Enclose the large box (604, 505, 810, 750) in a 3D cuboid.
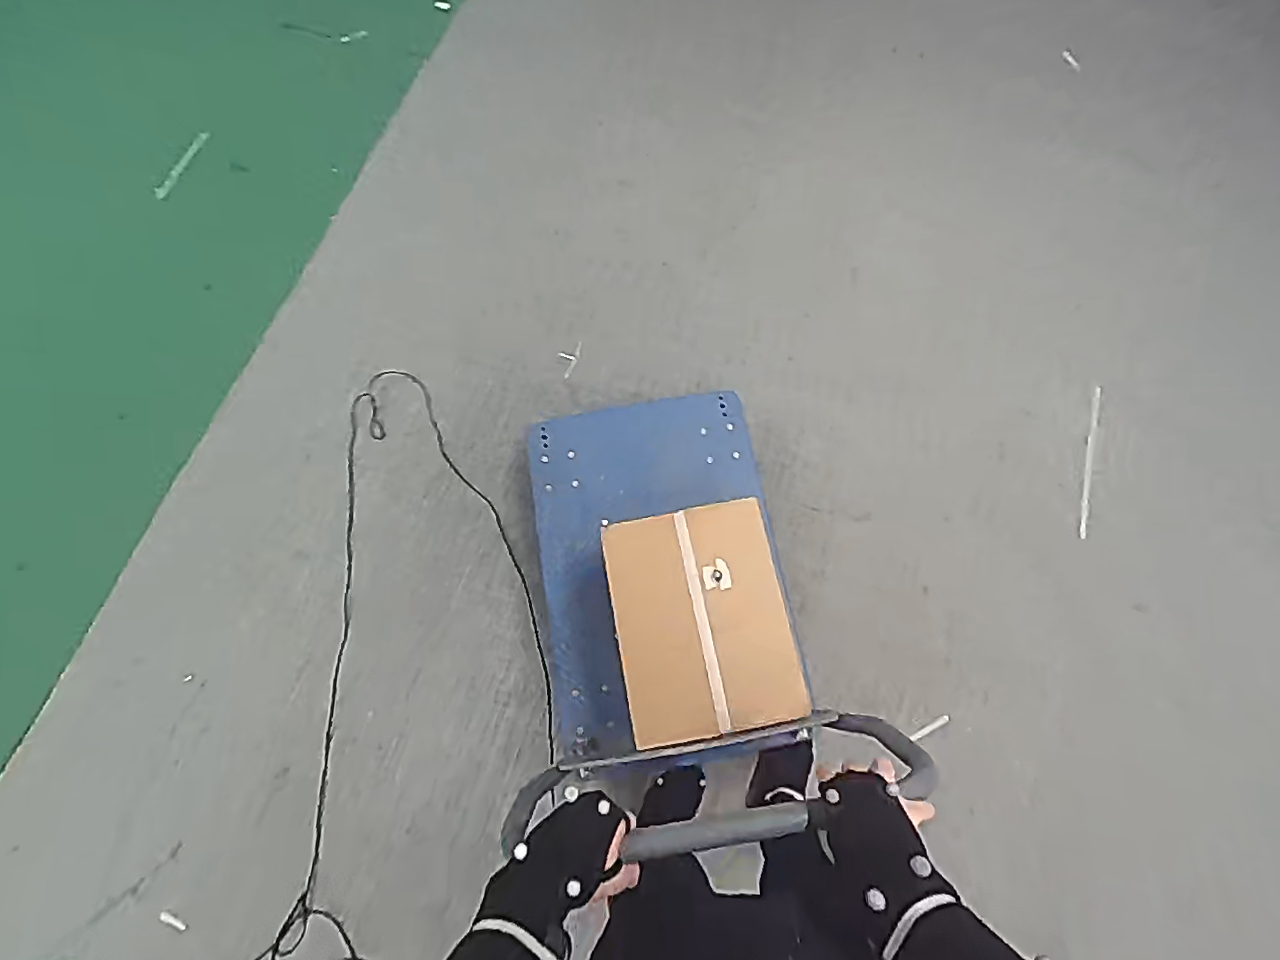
[{"bbox_3d":[0.124,0.310,1.154,0.320,0.320,0.408,-11,72,-1],"label":"large box"}]
